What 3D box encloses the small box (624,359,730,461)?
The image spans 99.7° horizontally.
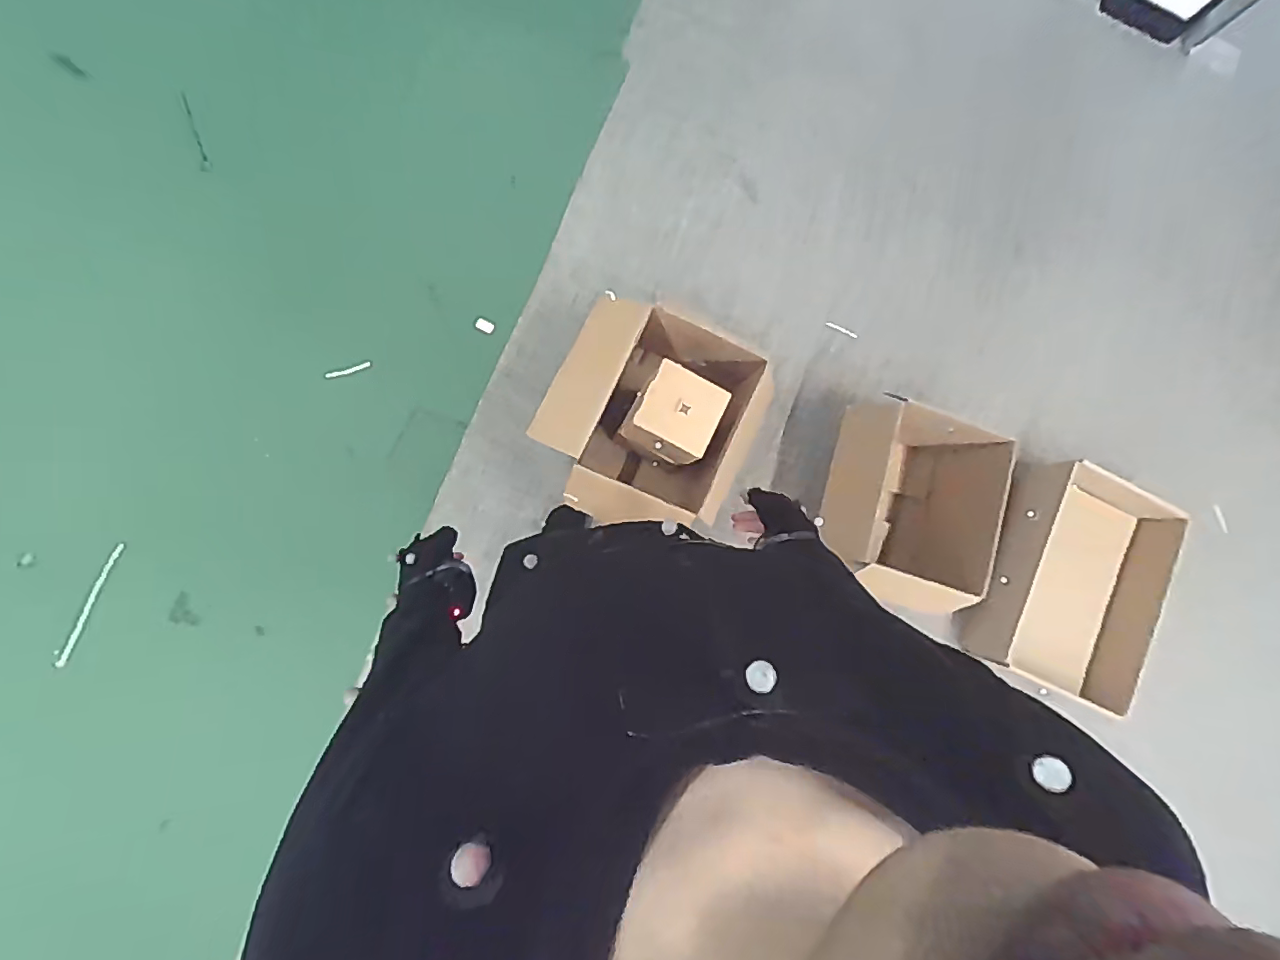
[{"bbox_3d":[0.079,-0.154,1.264,0.179,0.176,0.168,27,82,-6],"label":"small box"}]
